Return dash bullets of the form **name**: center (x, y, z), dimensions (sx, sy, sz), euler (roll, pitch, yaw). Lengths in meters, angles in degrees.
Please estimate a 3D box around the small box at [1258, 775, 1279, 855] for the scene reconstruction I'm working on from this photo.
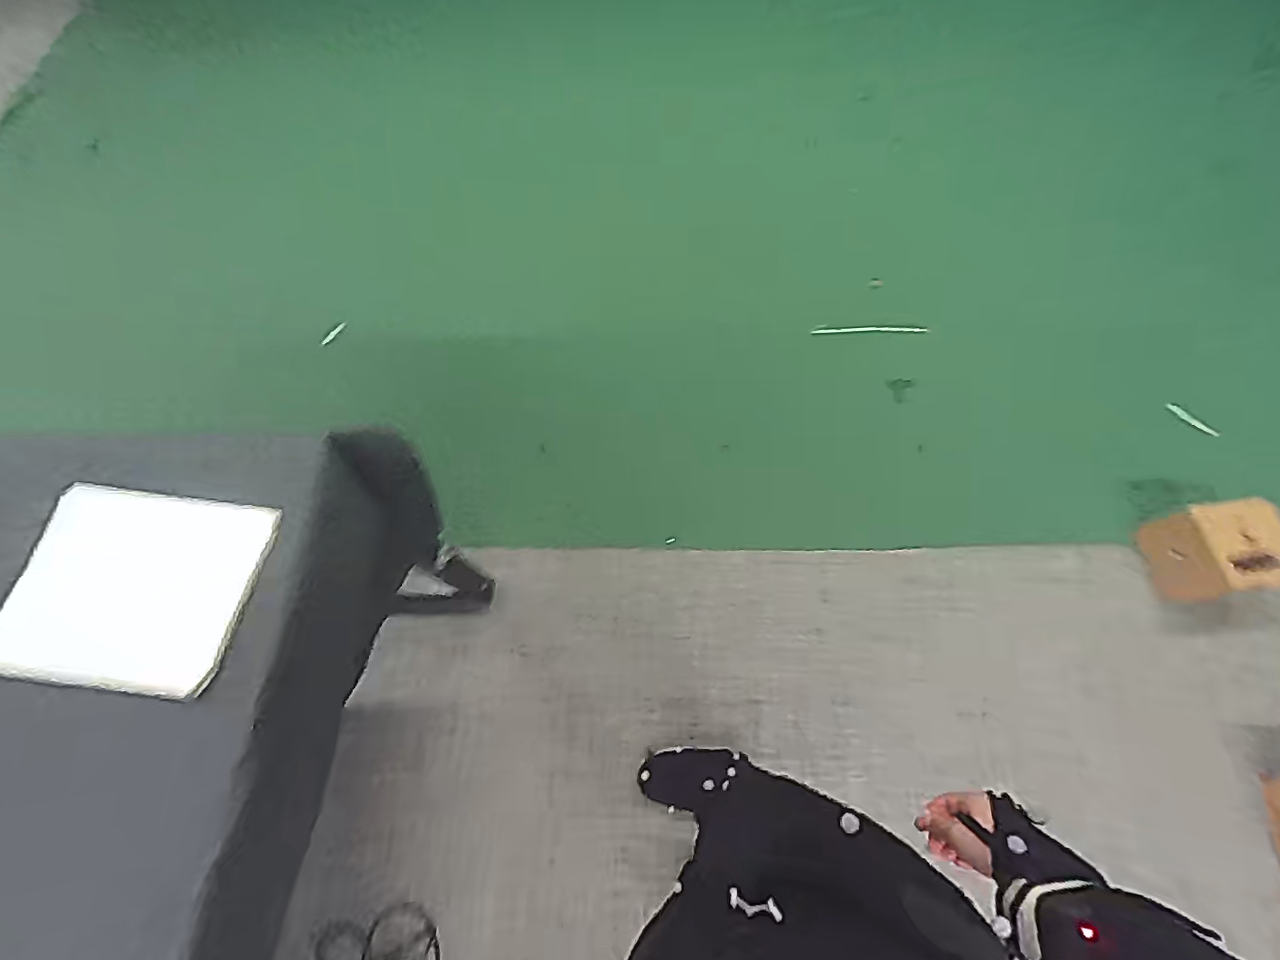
- **small box**: center (1.302, 0.633, 0.966), dimensions (0.179, 0.176, 0.168), euler (2, 66, 6)
